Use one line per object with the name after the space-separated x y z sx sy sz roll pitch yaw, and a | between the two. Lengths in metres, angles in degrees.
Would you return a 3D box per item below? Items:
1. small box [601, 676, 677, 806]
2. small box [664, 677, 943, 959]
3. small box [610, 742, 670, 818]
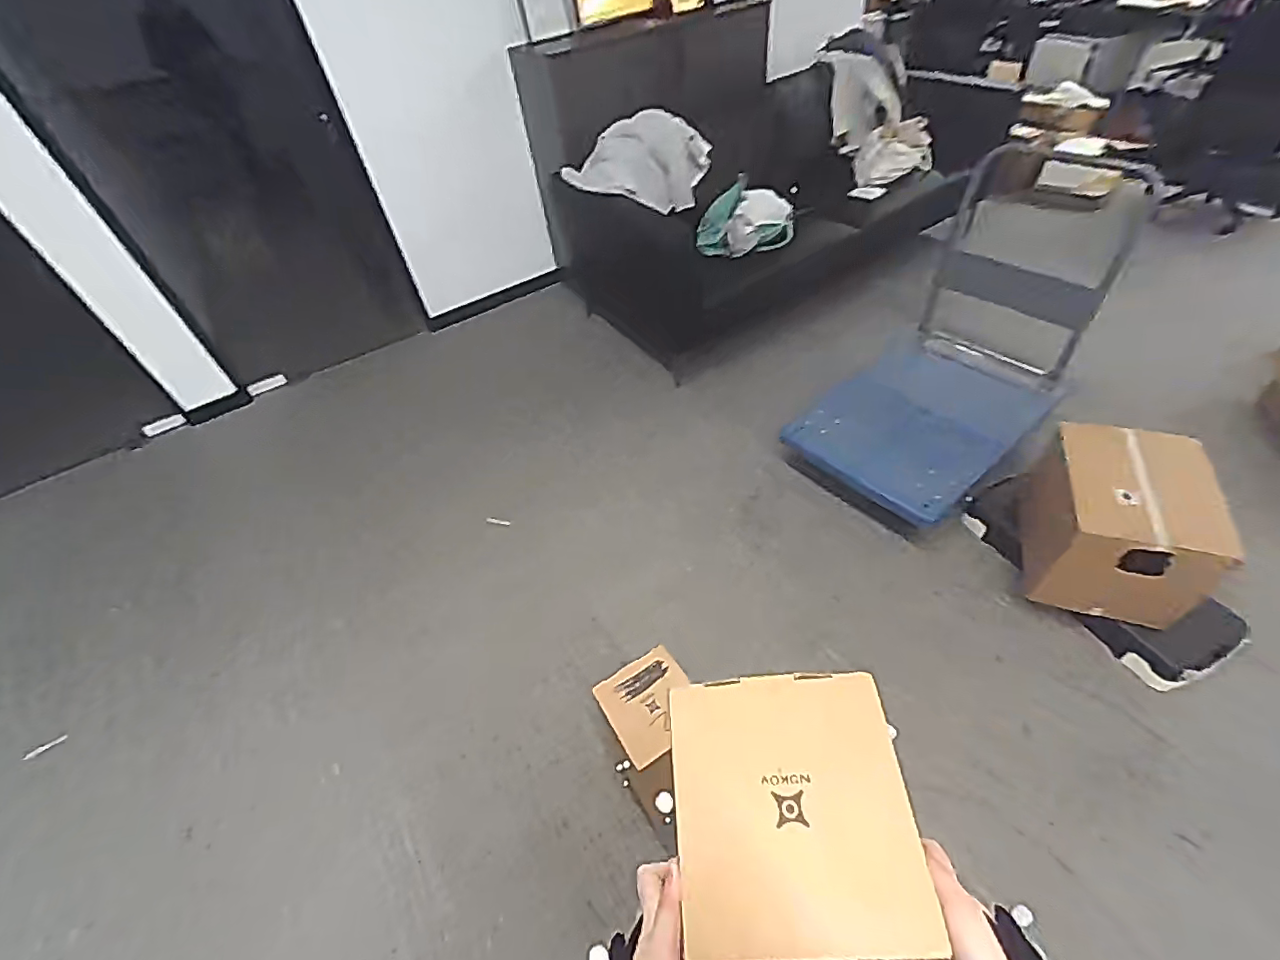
0.038 0.571 1.177 0.179 0.176 0.168 -27 50 -18 | small box
0.113 0.281 0.447 0.168 0.176 0.179 -6 51 4 | small box
0.048 0.680 1.300 0.168 0.176 0.179 -28 49 -18 | small box
